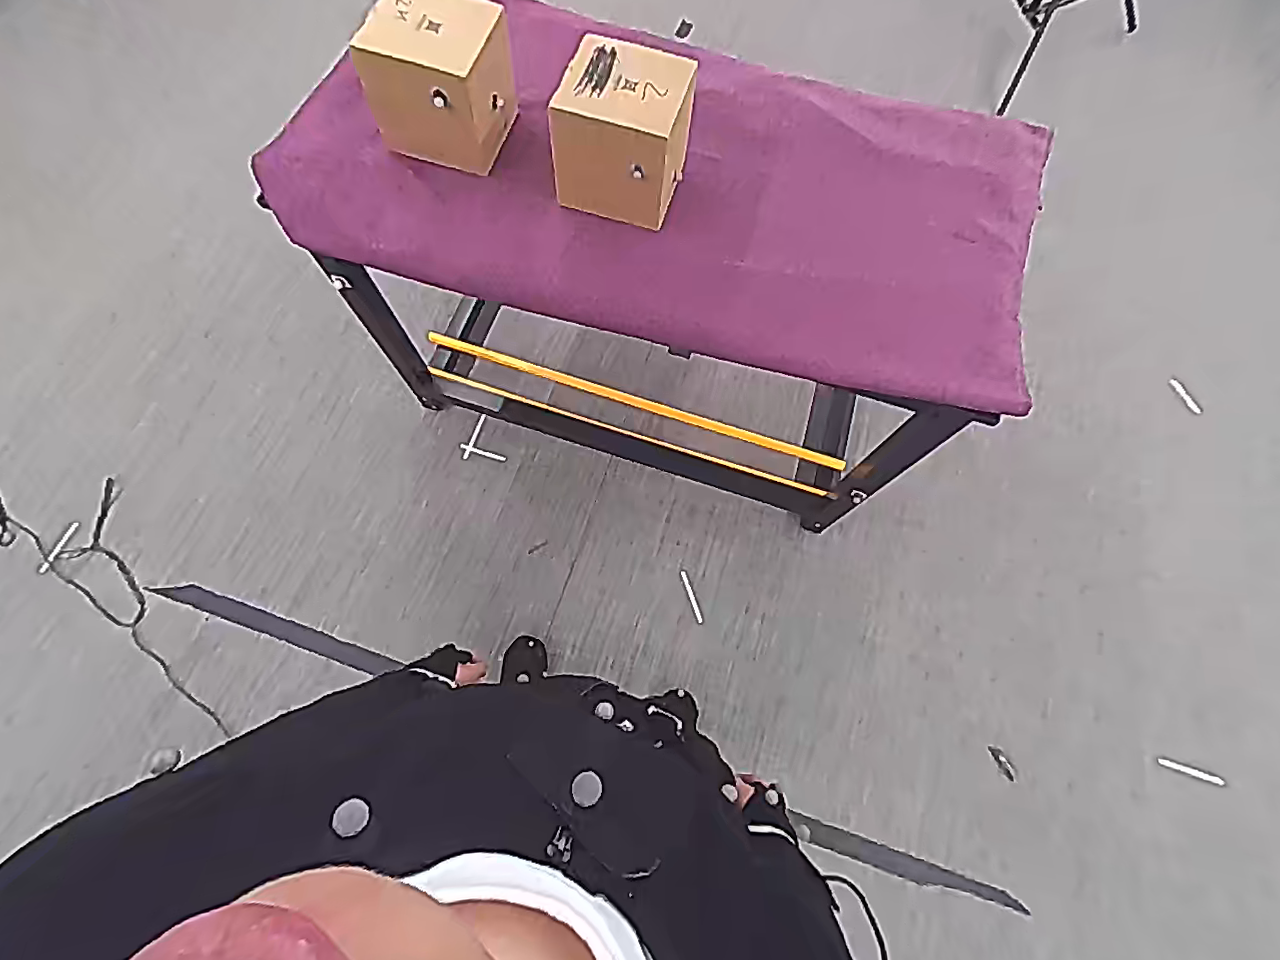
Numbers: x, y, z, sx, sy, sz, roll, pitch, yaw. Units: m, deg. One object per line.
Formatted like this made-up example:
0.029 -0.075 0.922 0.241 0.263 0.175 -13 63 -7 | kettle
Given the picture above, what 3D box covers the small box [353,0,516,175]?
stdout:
-0.310 -0.628 0.864 0.179 0.176 0.168 16 69 0 | small box
